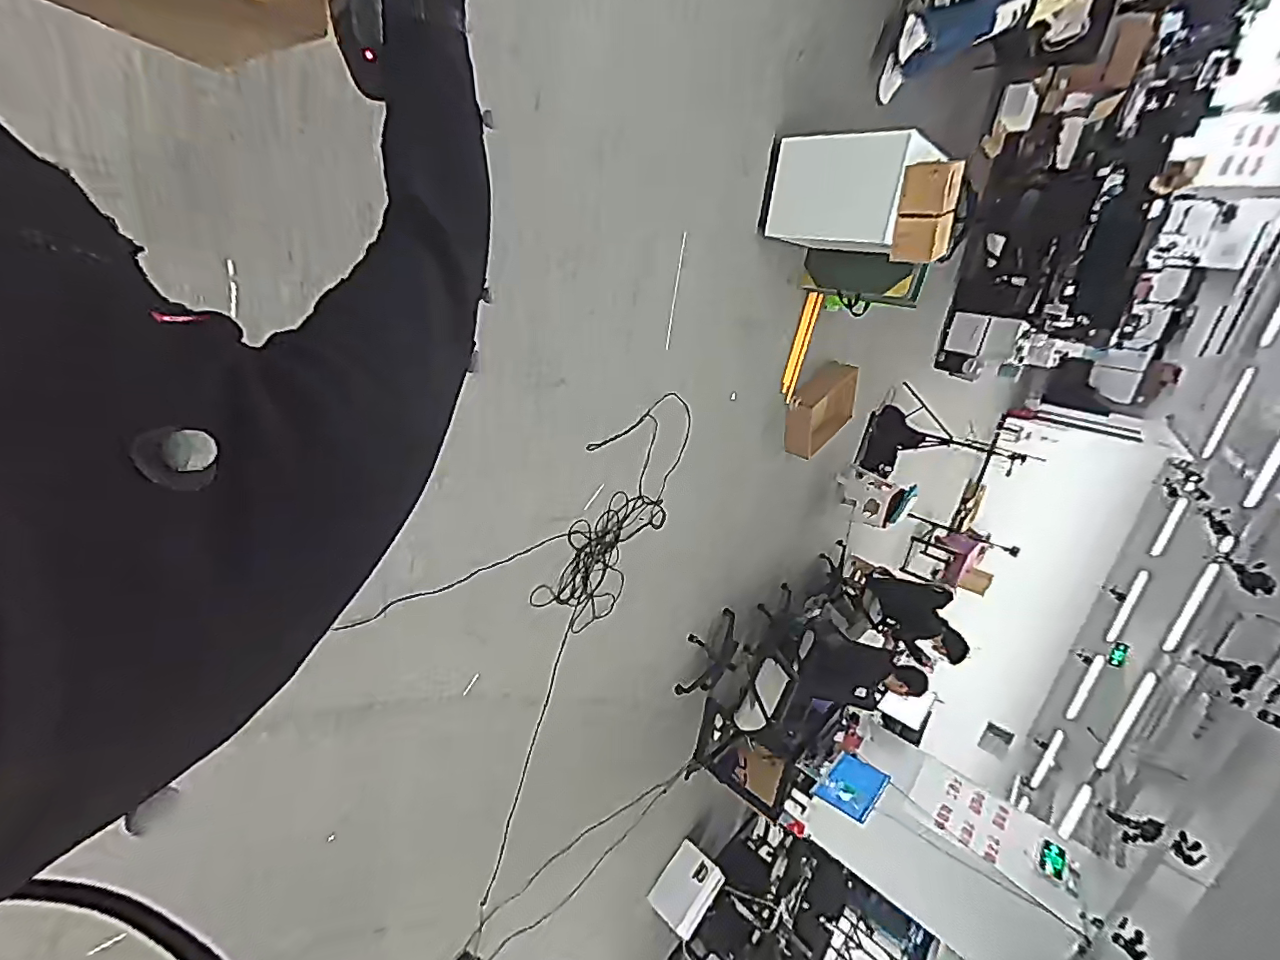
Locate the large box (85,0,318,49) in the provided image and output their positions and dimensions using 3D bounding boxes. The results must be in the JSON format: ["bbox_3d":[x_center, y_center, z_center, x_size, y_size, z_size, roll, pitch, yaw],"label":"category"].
[{"bbox_3d":[-0.442,-0.527,0.303,0.408,0.320,0.320,-5,115,-50],"label":"large box"}]
